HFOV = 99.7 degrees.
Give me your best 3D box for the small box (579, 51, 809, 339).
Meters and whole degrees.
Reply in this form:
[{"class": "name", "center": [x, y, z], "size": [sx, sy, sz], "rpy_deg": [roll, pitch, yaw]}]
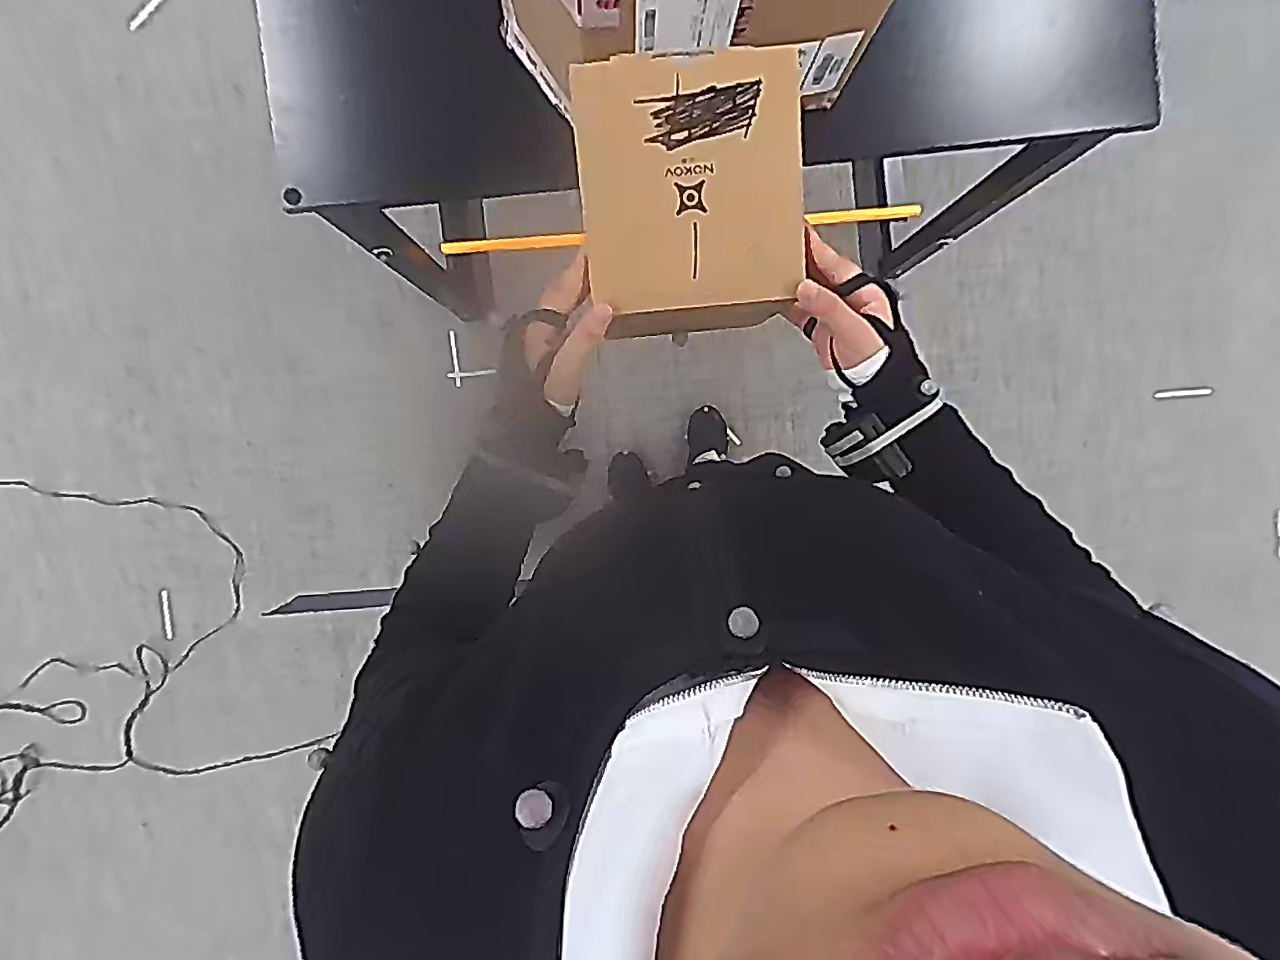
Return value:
[{"class": "small box", "center": [0.040, -0.229, 0.480], "size": [0.168, 0.176, 0.179], "rpy_deg": [-5, 99, 0]}]
